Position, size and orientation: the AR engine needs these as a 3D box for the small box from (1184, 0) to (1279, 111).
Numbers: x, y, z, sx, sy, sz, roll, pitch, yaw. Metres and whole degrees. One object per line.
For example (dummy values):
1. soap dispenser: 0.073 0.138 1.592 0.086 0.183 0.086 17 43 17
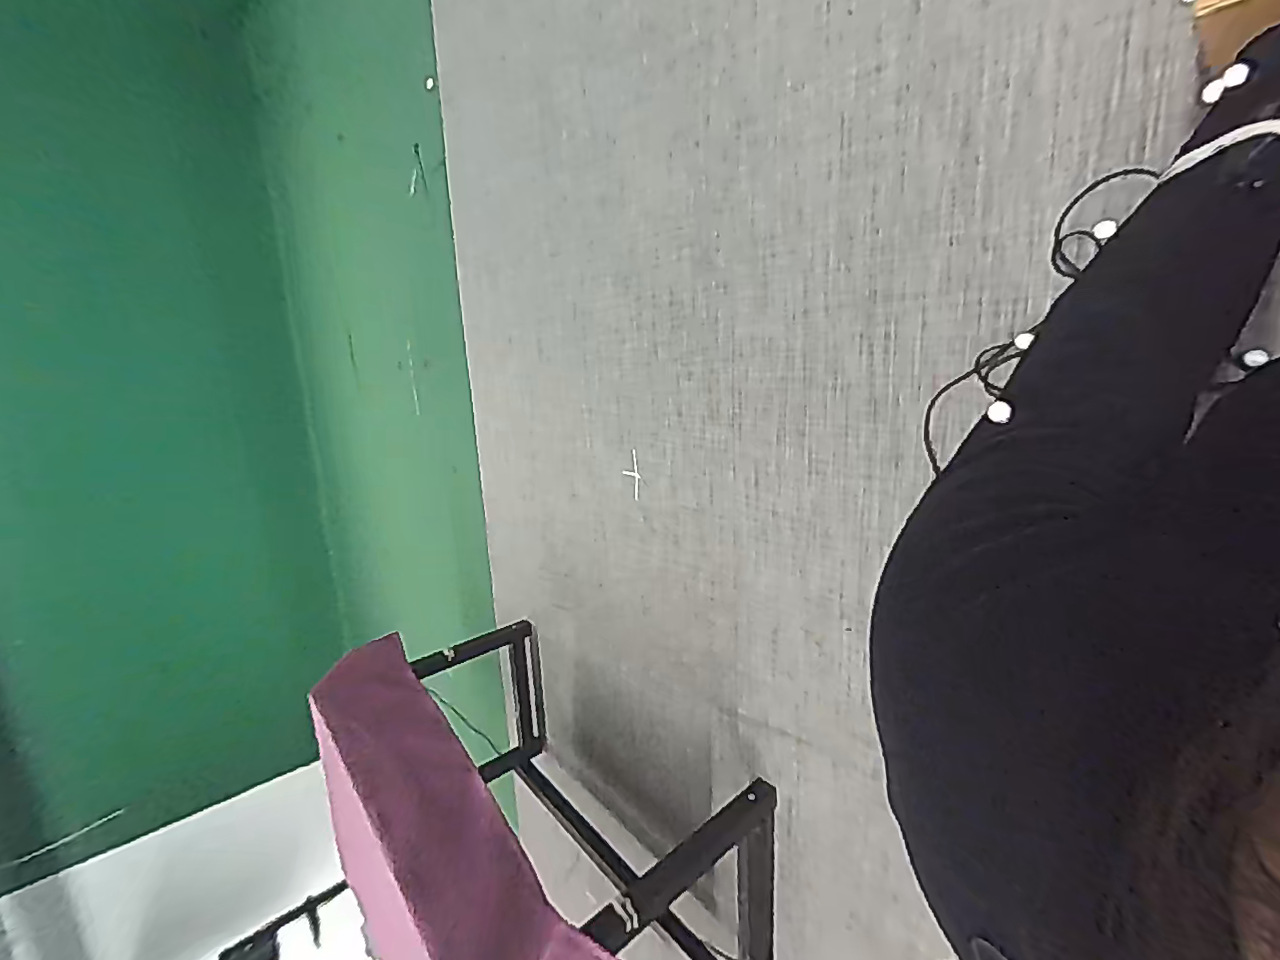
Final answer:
1. small box: 0.572 -0.440 0.422 0.168 0.176 0.179 16 101 52
